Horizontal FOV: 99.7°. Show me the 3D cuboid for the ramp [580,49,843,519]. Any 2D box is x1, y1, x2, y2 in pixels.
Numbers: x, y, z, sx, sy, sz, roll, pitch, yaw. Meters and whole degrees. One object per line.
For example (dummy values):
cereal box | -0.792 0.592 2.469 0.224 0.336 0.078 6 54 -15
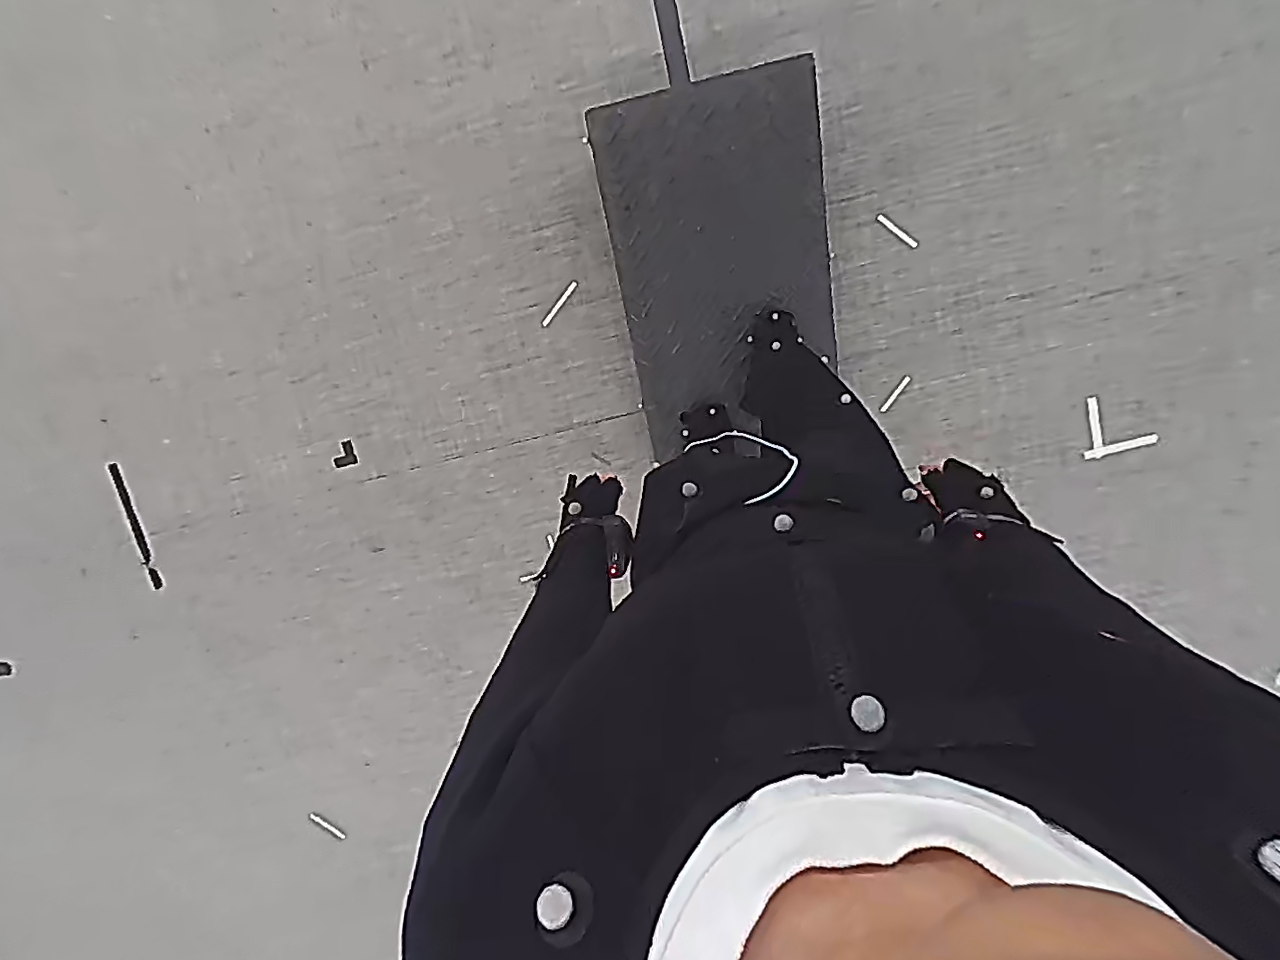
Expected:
ramp | 0.212 -0.387 1.308 0.509 0.206 0.991 -12 101 6
